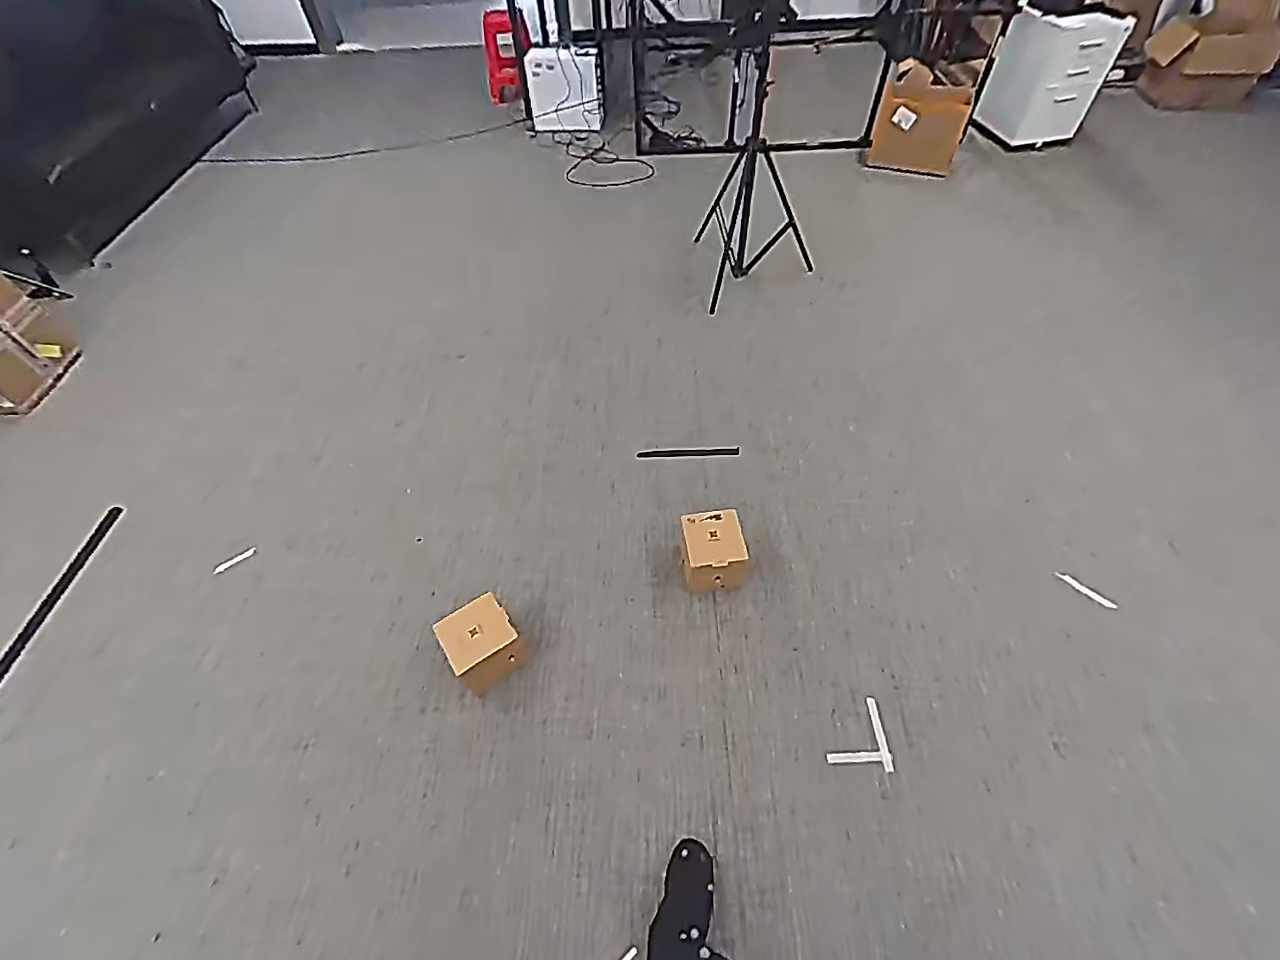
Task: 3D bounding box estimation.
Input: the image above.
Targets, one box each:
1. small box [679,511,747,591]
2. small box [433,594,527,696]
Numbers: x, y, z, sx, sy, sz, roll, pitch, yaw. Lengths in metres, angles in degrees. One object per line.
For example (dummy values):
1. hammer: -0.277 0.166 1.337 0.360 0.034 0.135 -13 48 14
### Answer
1. small box: 0.210 0.217 1.597 0.168 0.176 0.179 -7 54 -3
2. small box: -0.421 0.446 1.454 0.179 0.176 0.168 -31 56 -19
